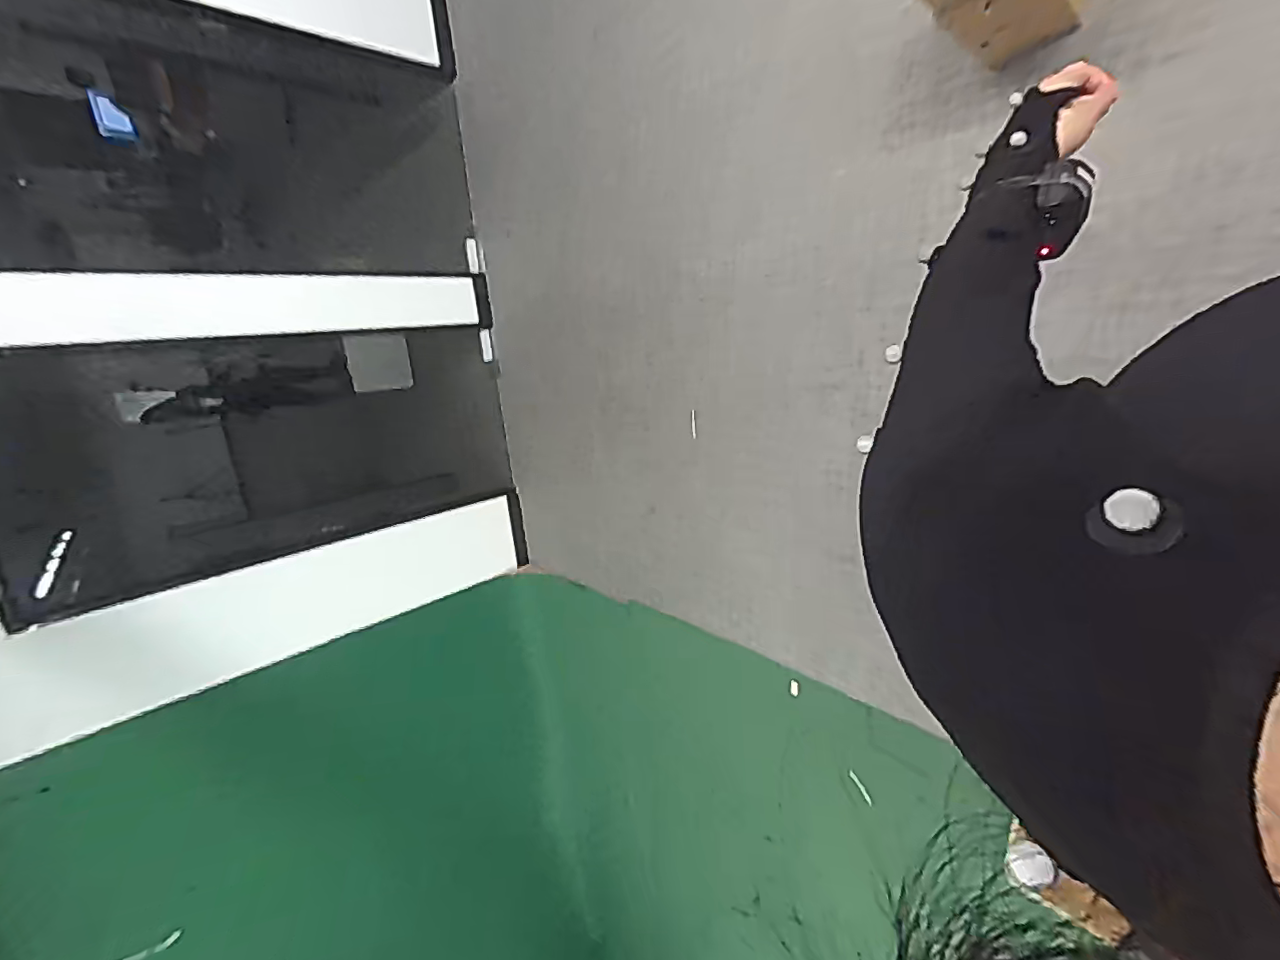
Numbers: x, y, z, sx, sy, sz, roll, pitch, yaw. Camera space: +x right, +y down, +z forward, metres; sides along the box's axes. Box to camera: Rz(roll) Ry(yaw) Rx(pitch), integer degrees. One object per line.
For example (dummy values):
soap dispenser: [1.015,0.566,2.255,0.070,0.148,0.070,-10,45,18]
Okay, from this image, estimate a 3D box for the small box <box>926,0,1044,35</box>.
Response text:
small box: [0.620,-0.921,0.935,0.179,0.176,0.168,8,110,46]
